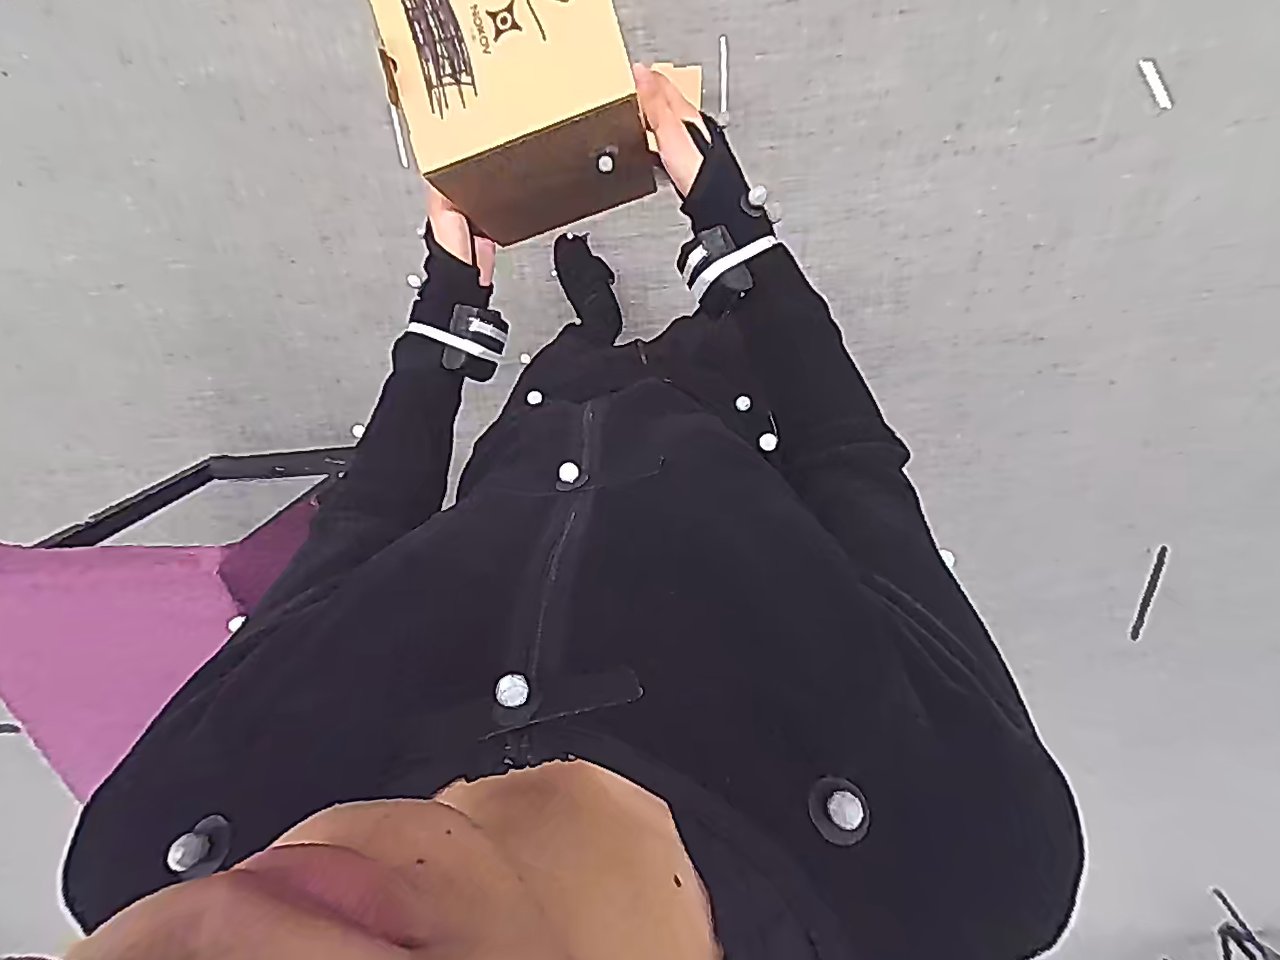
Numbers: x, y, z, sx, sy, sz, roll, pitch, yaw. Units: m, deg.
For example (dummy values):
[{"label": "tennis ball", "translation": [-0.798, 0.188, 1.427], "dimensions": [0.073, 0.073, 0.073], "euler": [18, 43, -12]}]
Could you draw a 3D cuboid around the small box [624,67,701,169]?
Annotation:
[{"label": "small box", "translation": [0.050, -0.825, 1.248], "dimensions": [0.168, 0.176, 0.179], "euler": [0, 114, 1]}]

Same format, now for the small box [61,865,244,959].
[{"label": "small box", "translation": [-0.941, 0.893, 1.059], "dimensions": [0.179, 0.176, 0.168], "euler": [-9, 115, 5]}]
